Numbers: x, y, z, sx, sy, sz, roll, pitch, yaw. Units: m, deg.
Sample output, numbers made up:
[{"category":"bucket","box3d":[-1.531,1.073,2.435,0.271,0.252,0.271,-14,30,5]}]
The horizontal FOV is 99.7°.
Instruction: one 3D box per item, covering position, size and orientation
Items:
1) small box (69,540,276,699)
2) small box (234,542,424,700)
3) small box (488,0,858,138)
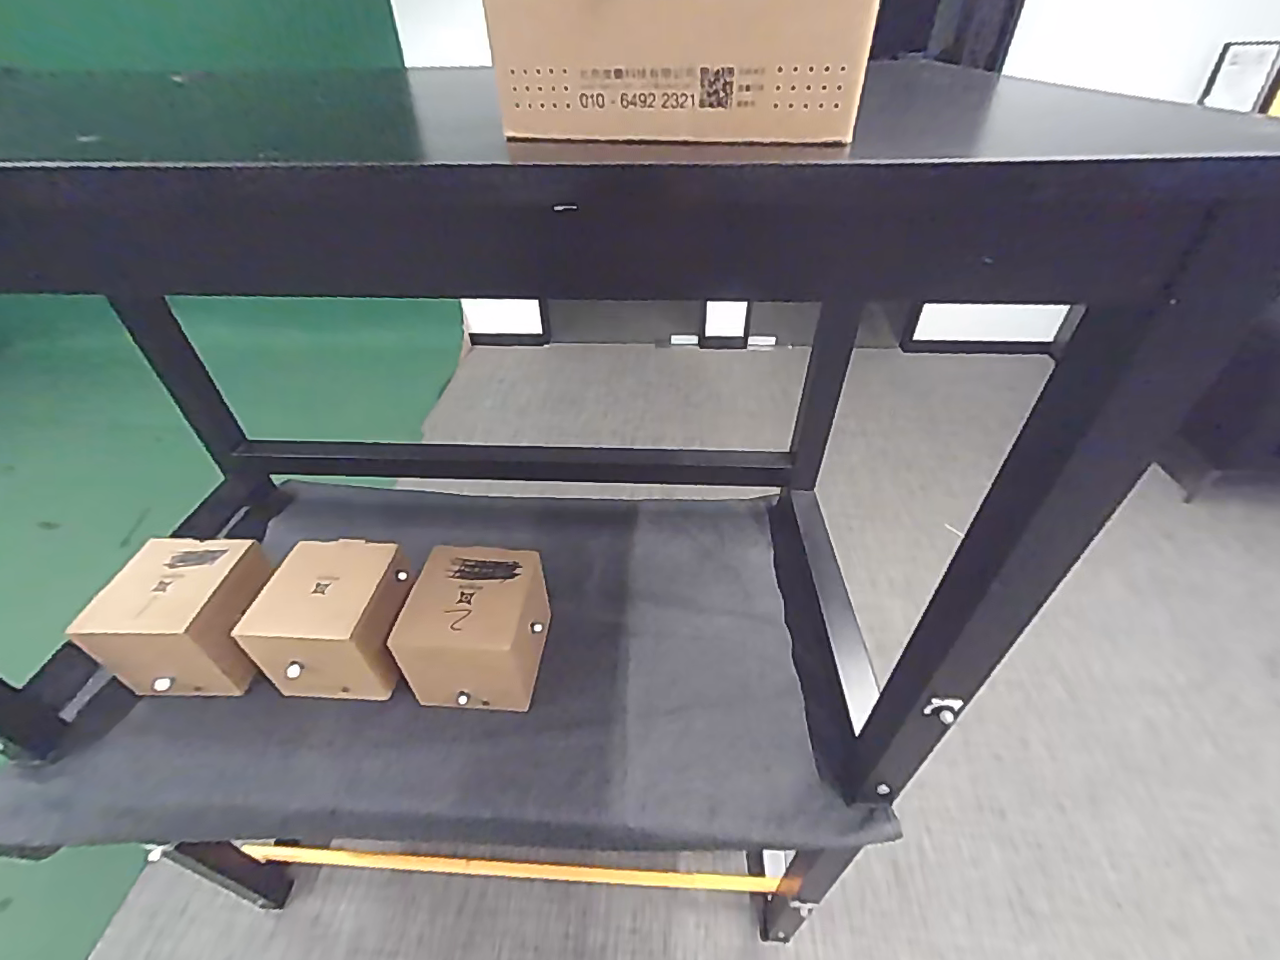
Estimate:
[{"category":"small box","box3d":[-0.682,0.213,0.836,0.168,0.176,0.179,0,40,1]},{"category":"small box","box3d":[-0.455,0.217,0.830,0.168,0.176,0.179,2,39,3]},{"category":"small box","box3d":[0.025,-0.279,0.268,0.168,0.176,0.179,7,40,10]}]
